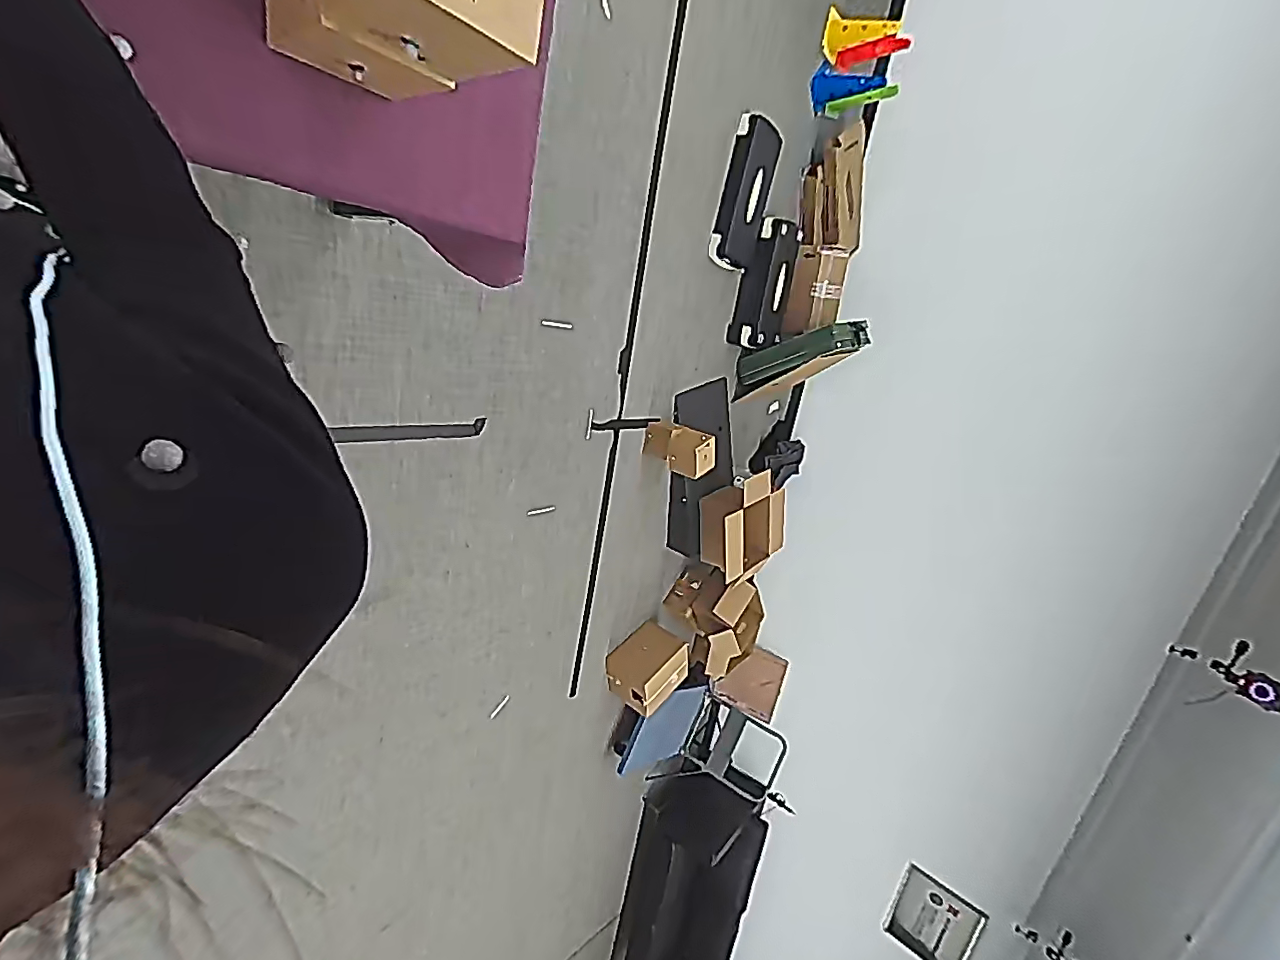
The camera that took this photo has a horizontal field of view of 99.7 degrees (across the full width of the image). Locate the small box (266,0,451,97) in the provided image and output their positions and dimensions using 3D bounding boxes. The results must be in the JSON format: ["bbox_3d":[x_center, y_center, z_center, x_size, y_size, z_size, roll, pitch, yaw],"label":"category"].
[{"bbox_3d":[-0.347,-0.612,0.677,0.168,0.176,0.179,-11,117,-51],"label":"small box"}]

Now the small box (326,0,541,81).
[{"bbox_3d":[-0.221,-0.569,0.582,0.168,0.176,0.179,-9,116,-50],"label":"small box"}]
